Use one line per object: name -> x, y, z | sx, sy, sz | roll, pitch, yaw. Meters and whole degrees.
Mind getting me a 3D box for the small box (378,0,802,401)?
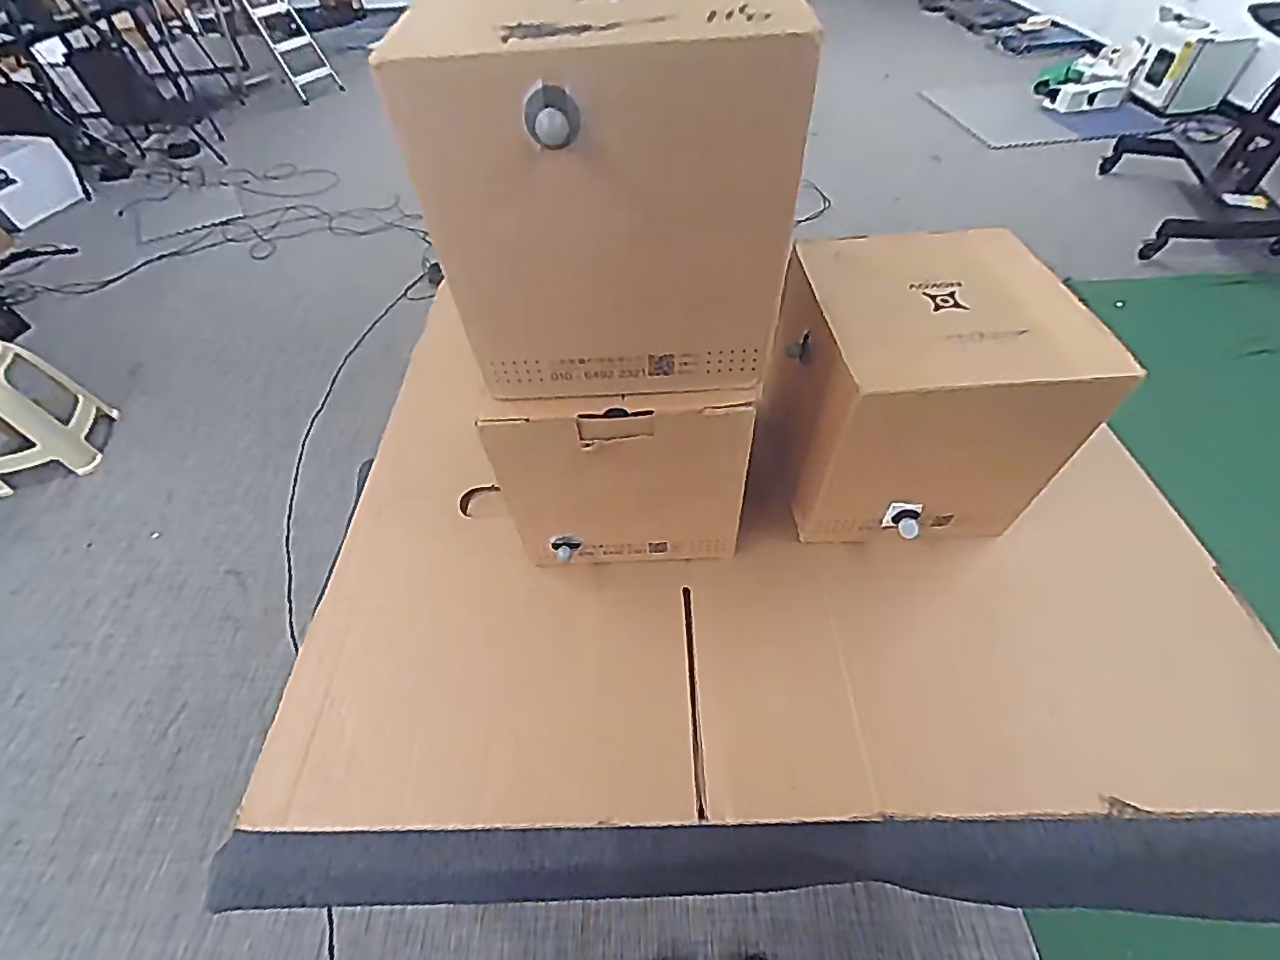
small box -> -0.016, -0.166, 0.318 | 0.168, 0.176, 0.179 | -2, 51, 3
